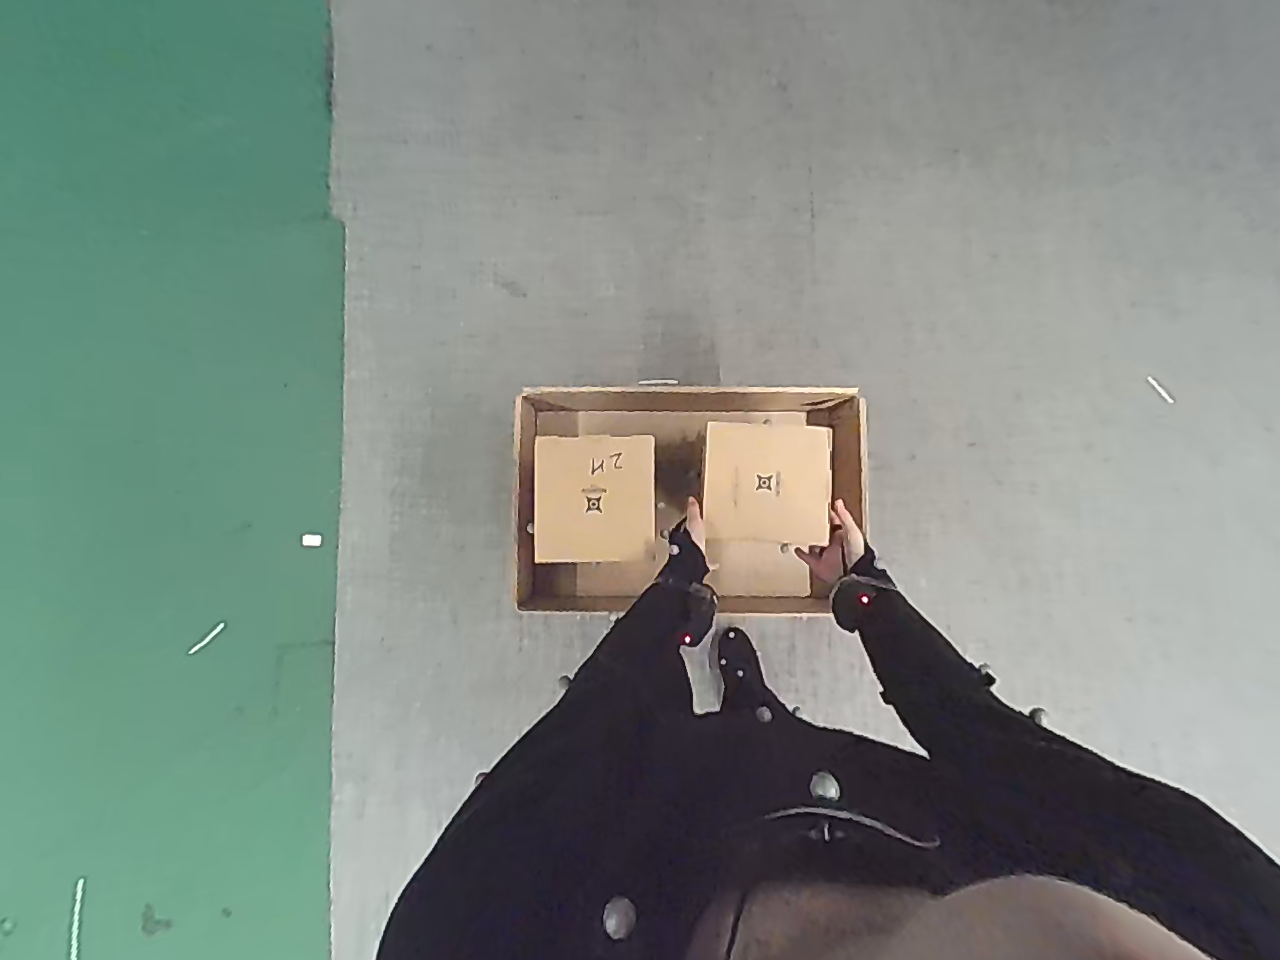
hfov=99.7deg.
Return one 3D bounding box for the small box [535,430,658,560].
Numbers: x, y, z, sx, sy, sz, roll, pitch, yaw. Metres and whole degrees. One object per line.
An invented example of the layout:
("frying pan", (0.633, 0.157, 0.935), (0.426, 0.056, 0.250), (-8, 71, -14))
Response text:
("small box", (-0.056, 0.024, 0.804), (0.168, 0.176, 0.179), (0, 86, 1))
